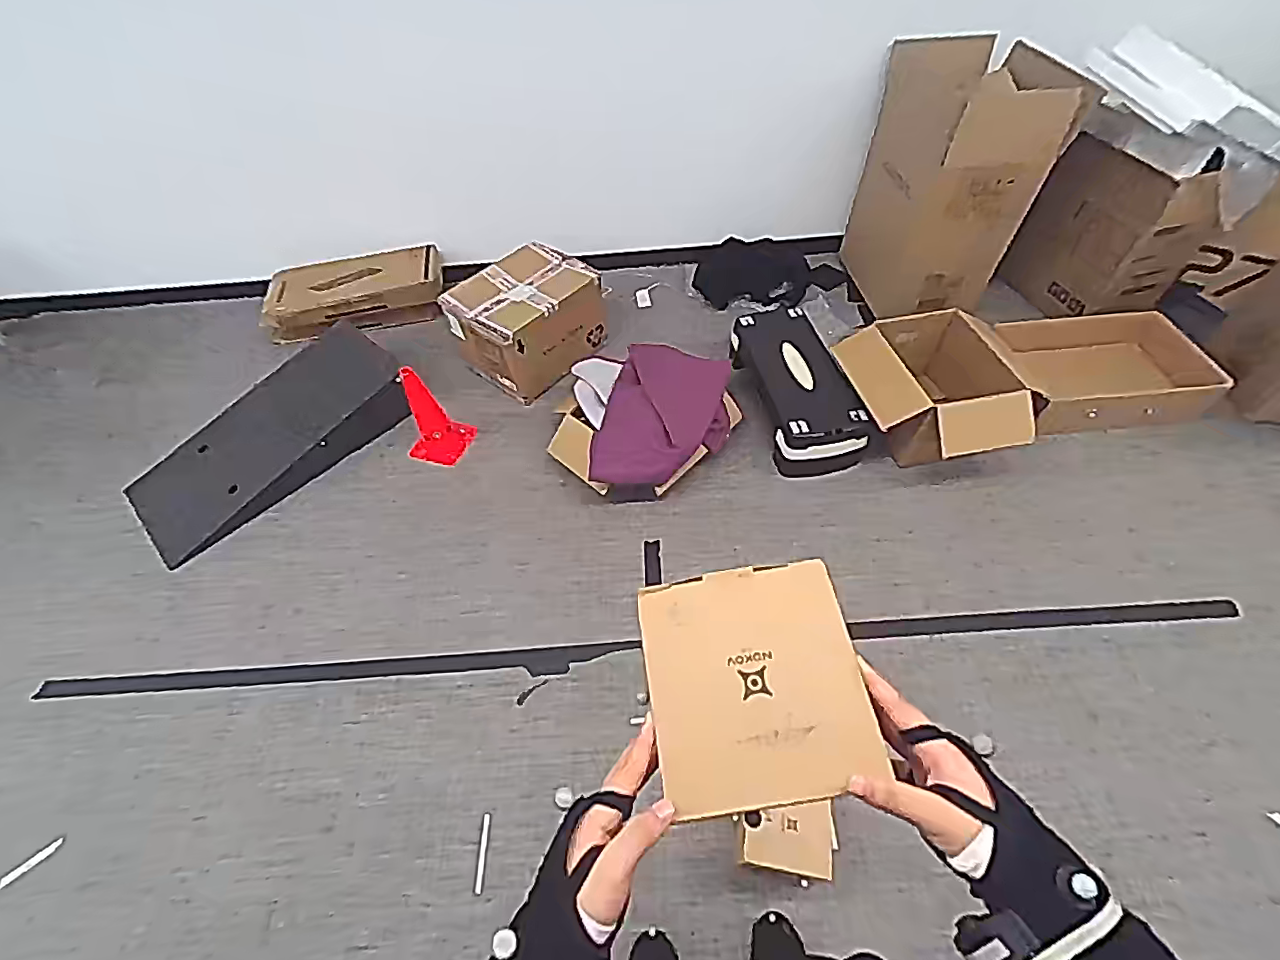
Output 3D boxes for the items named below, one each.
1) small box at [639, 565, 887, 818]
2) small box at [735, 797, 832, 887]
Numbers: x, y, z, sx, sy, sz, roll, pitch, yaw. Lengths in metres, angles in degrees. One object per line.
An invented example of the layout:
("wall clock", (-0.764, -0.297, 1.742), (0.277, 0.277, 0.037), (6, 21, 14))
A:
("small box", (0.094, 0.199, 0.499), (0.168, 0.176, 0.179), (-9, 60, 1))
("small box", (0.308, 0.764, 1.174), (0.179, 0.176, 0.168), (7, 53, 9))
